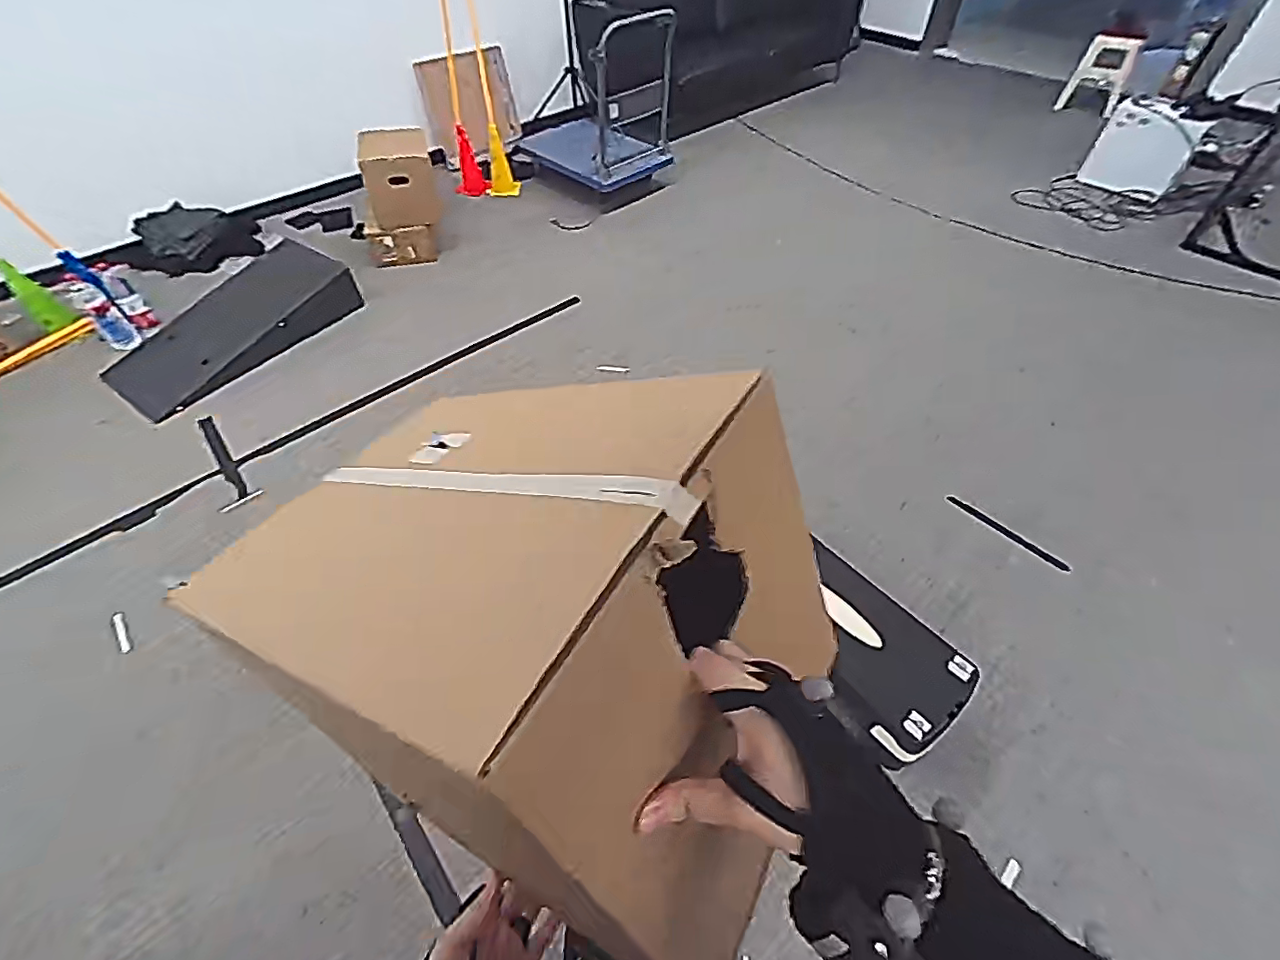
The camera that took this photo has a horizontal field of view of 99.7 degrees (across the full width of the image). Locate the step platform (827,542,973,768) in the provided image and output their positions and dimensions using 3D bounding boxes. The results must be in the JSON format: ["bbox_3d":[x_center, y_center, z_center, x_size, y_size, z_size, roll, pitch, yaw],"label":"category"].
[{"bbox_3d":[0.503,0.382,1.452,0.286,0.204,0.684,-29,55,-21],"label":"step platform"}]

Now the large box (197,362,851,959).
[{"bbox_3d":[-0.073,0.126,0.481,0.408,0.320,0.320,1,36,38],"label":"large box"}]
